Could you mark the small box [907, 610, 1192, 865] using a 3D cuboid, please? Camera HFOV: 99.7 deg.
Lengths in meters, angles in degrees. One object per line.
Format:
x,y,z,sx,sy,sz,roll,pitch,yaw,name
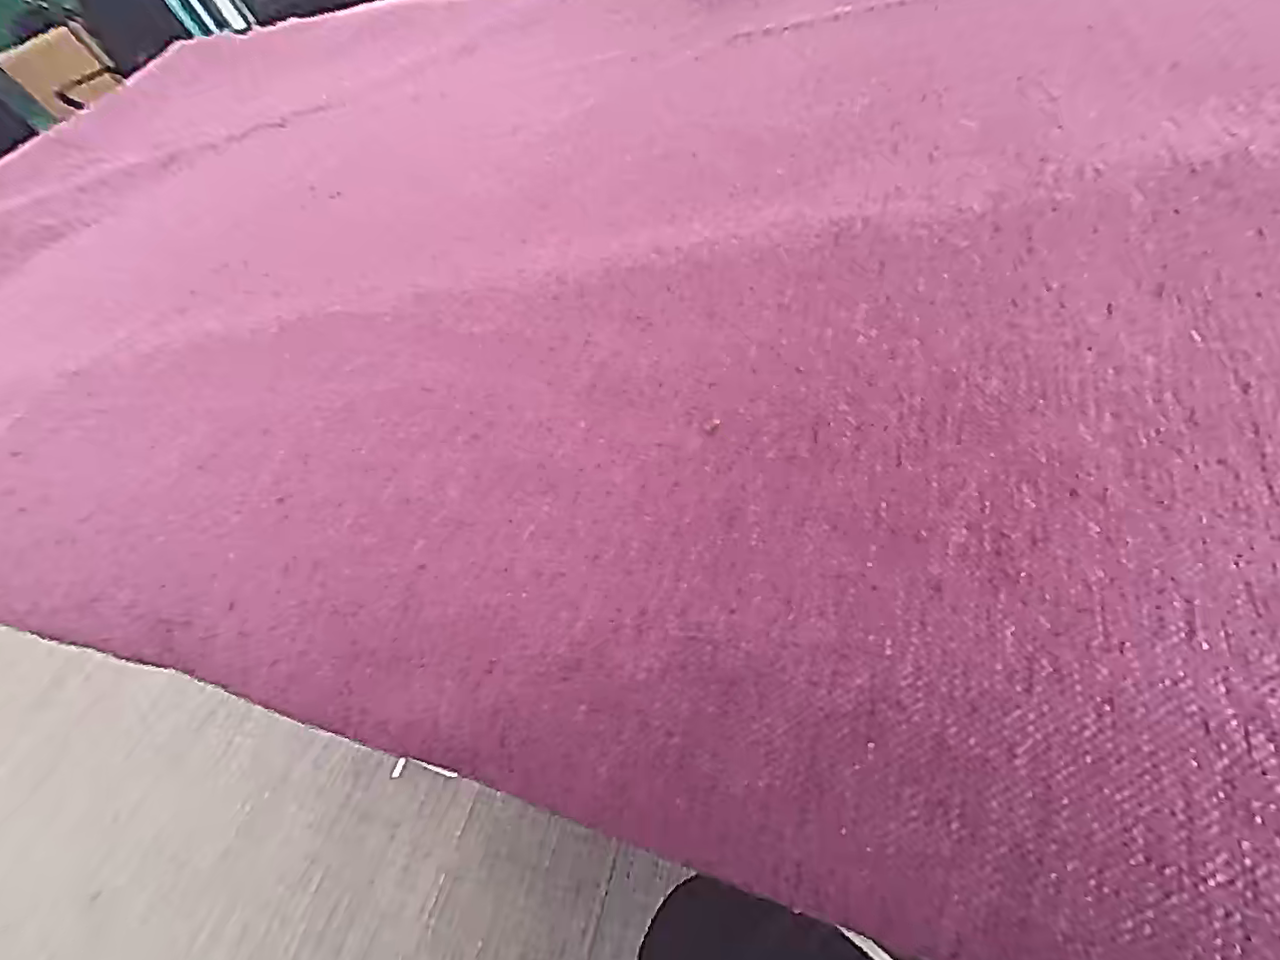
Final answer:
0.359,0.244,0.516,0.179,0.176,0.168,5,59,24,small box
